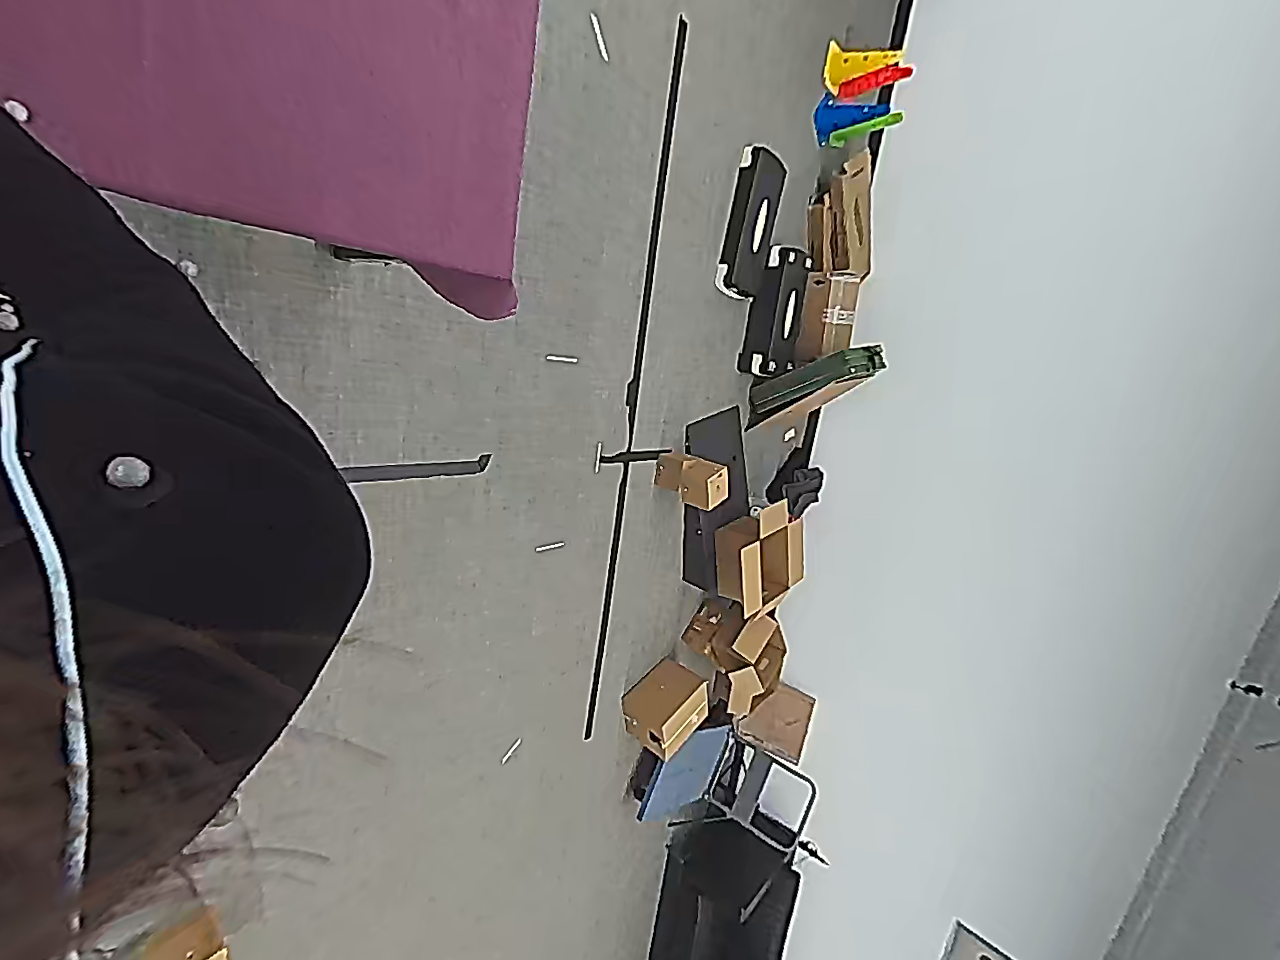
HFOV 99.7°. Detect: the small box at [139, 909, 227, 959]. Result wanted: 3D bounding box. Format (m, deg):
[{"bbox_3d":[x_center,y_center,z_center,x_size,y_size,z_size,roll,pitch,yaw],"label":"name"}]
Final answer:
[{"bbox_3d":[-1.335,1.430,1.580,0.179,0.176,0.168,-11,113,-49],"label":"small box"}]
